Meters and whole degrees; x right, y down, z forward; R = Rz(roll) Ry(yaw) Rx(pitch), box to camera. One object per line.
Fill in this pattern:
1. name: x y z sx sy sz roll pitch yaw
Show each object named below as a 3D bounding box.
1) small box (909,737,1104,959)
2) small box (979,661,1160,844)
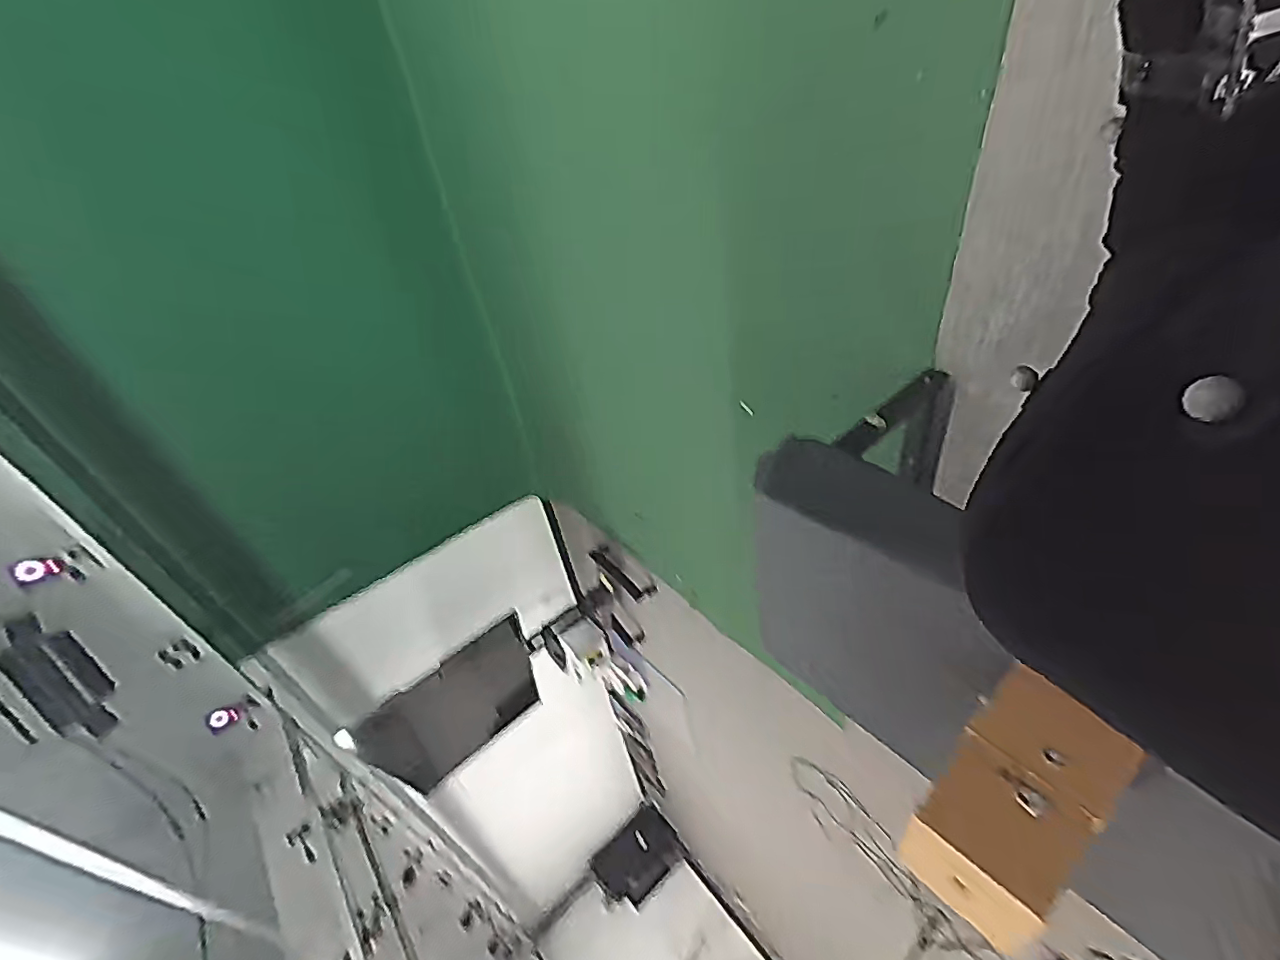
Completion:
1. small box: 0.518 0.517 0.775 0.168 0.176 0.179 29 142 42
2. small box: 0.653 0.424 0.846 0.179 0.176 0.168 33 145 42
